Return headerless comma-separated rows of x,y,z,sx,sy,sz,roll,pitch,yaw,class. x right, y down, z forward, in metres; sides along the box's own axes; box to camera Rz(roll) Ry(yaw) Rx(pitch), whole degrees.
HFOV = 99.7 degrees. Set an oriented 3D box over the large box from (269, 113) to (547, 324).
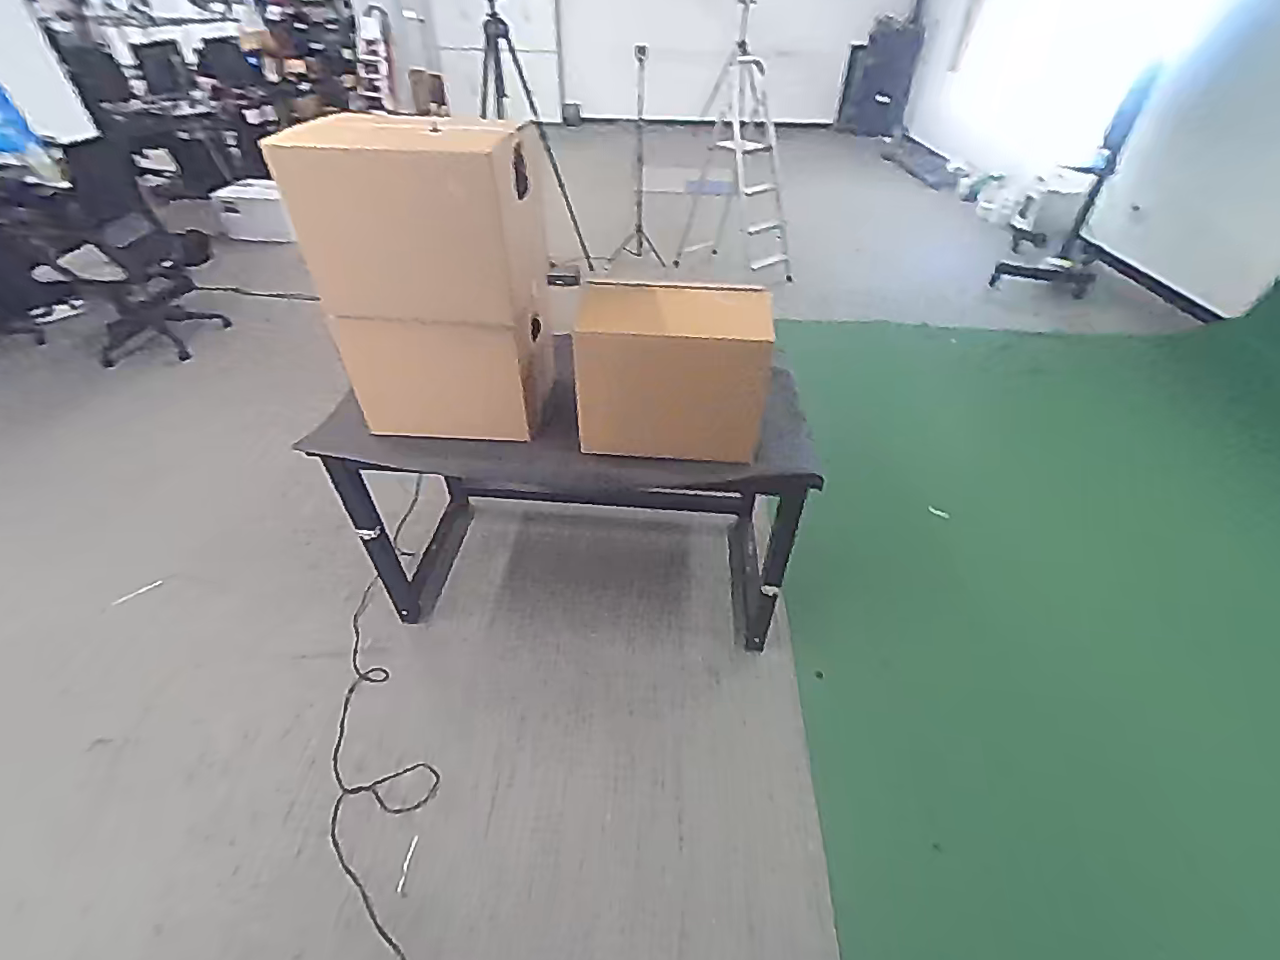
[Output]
-0.427,-0.539,1.113,0.408,0.320,0.320,5,43,2,large box
